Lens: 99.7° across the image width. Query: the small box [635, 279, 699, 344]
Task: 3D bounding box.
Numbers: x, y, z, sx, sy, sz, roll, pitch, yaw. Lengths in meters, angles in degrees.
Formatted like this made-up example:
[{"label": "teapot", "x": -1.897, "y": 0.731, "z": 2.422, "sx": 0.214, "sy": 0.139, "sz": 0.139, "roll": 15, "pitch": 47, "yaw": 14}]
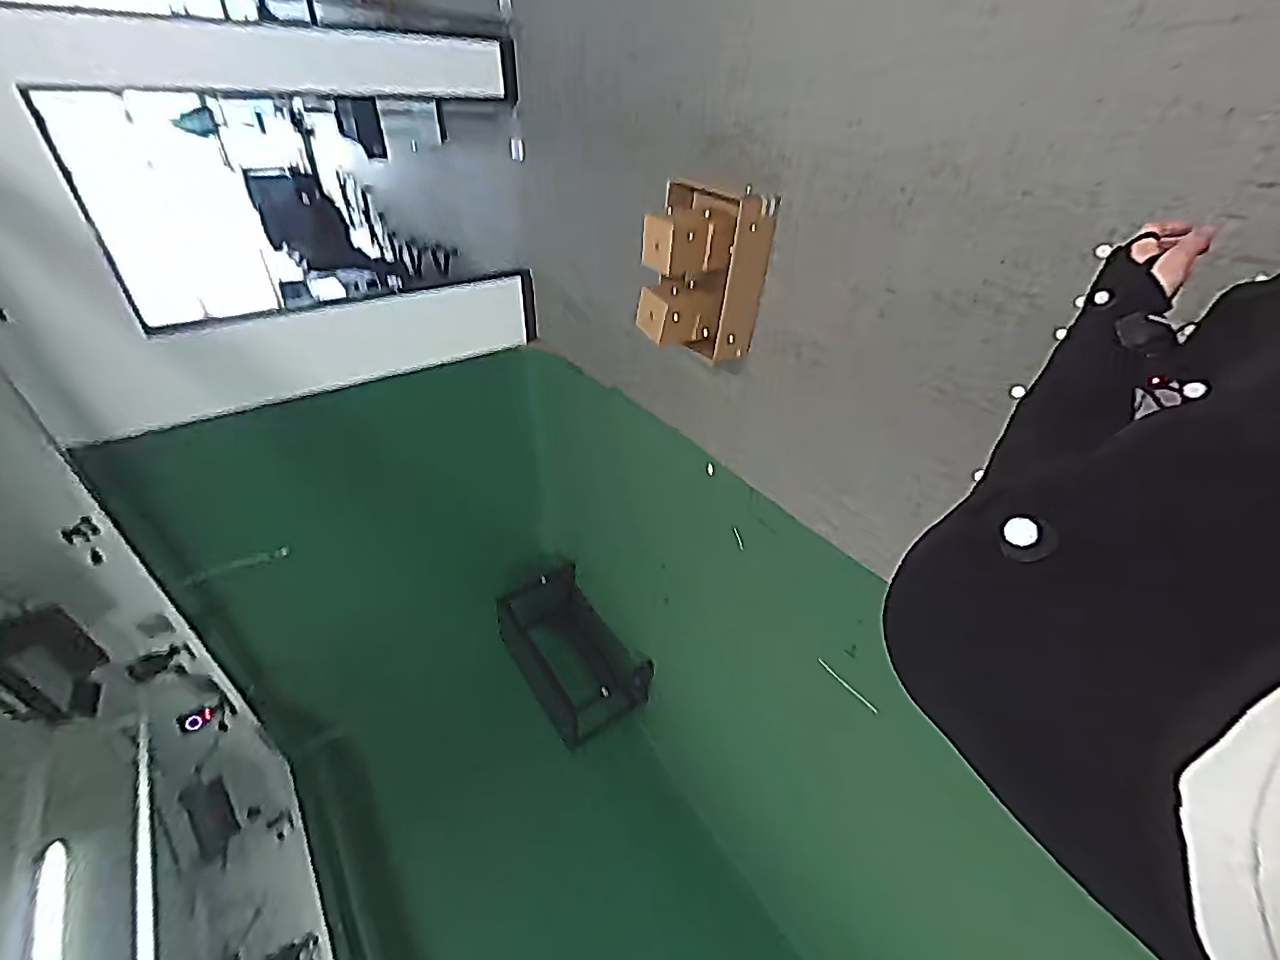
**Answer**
[{"label": "small box", "x": 0.107, "y": -0.664, "z": 2.112, "sx": 0.168, "sy": 0.176, "sz": 0.179, "roll": 50, "pitch": 145, "yaw": 30}]
